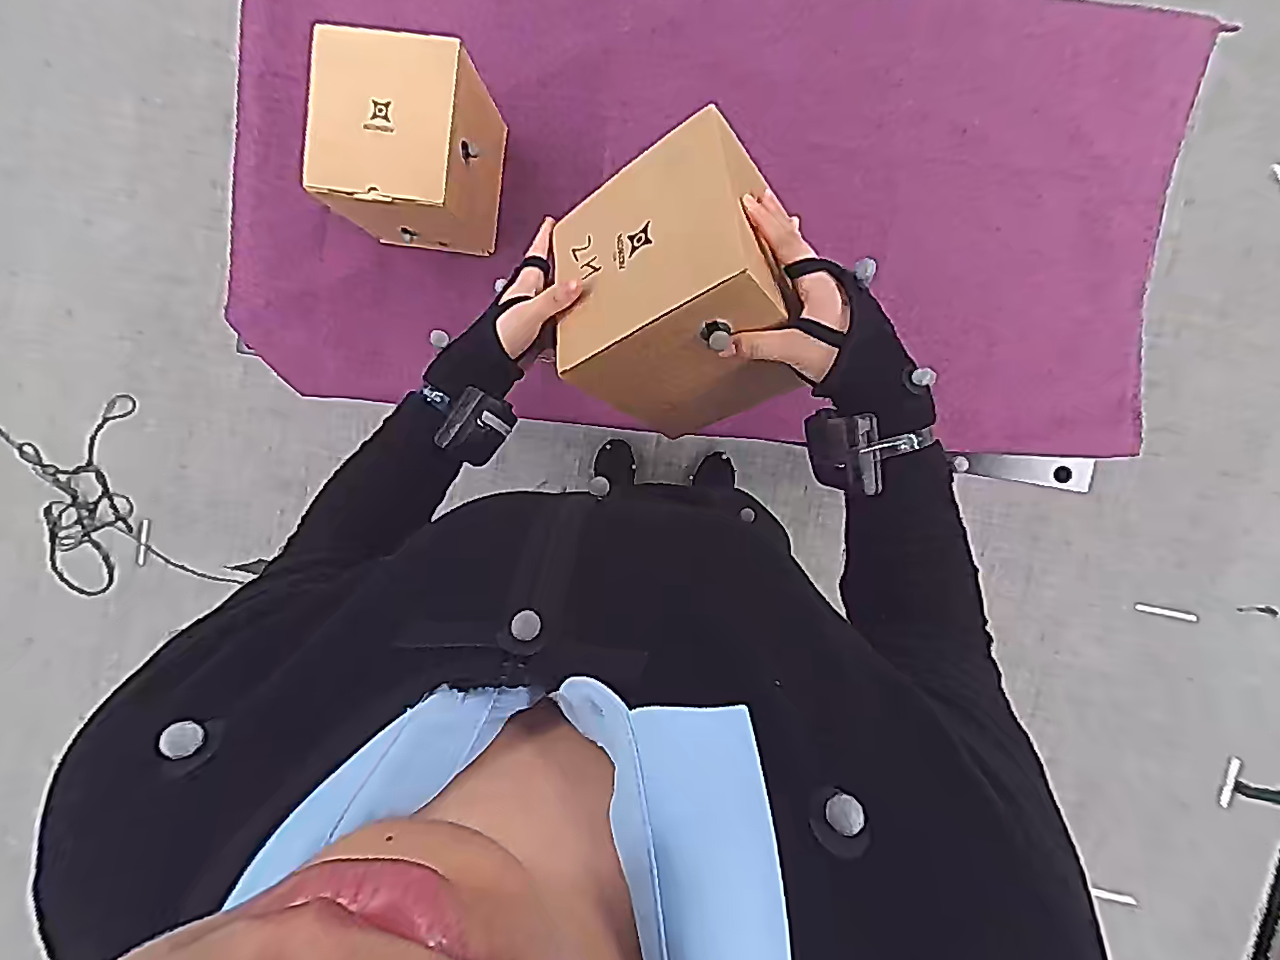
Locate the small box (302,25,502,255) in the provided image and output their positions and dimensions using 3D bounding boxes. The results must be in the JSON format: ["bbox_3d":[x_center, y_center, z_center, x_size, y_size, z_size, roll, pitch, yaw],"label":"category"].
[{"bbox_3d":[-0.279,-0.404,0.670,0.168,0.176,0.179,8,96,3],"label":"small box"}]

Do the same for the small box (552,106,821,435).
[{"bbox_3d":[0.044,-0.161,0.477,0.179,0.176,0.168,-21,62,33],"label":"small box"}]
